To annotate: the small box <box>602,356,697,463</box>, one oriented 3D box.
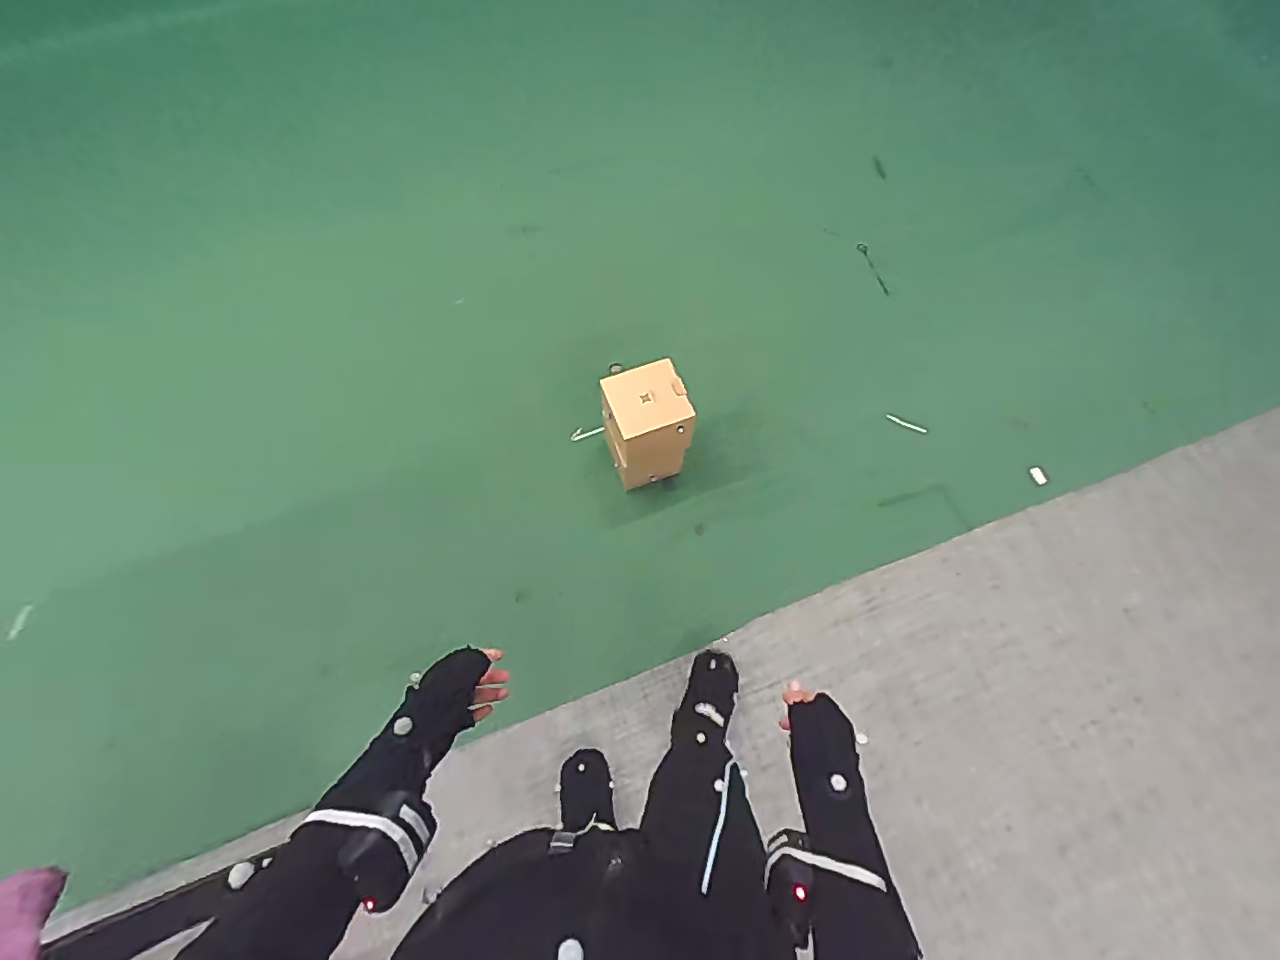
[{"bbox_3d":[0.021,-0.162,1.299,0.179,0.176,0.168,-20,70,-8],"label":"small box"}]
